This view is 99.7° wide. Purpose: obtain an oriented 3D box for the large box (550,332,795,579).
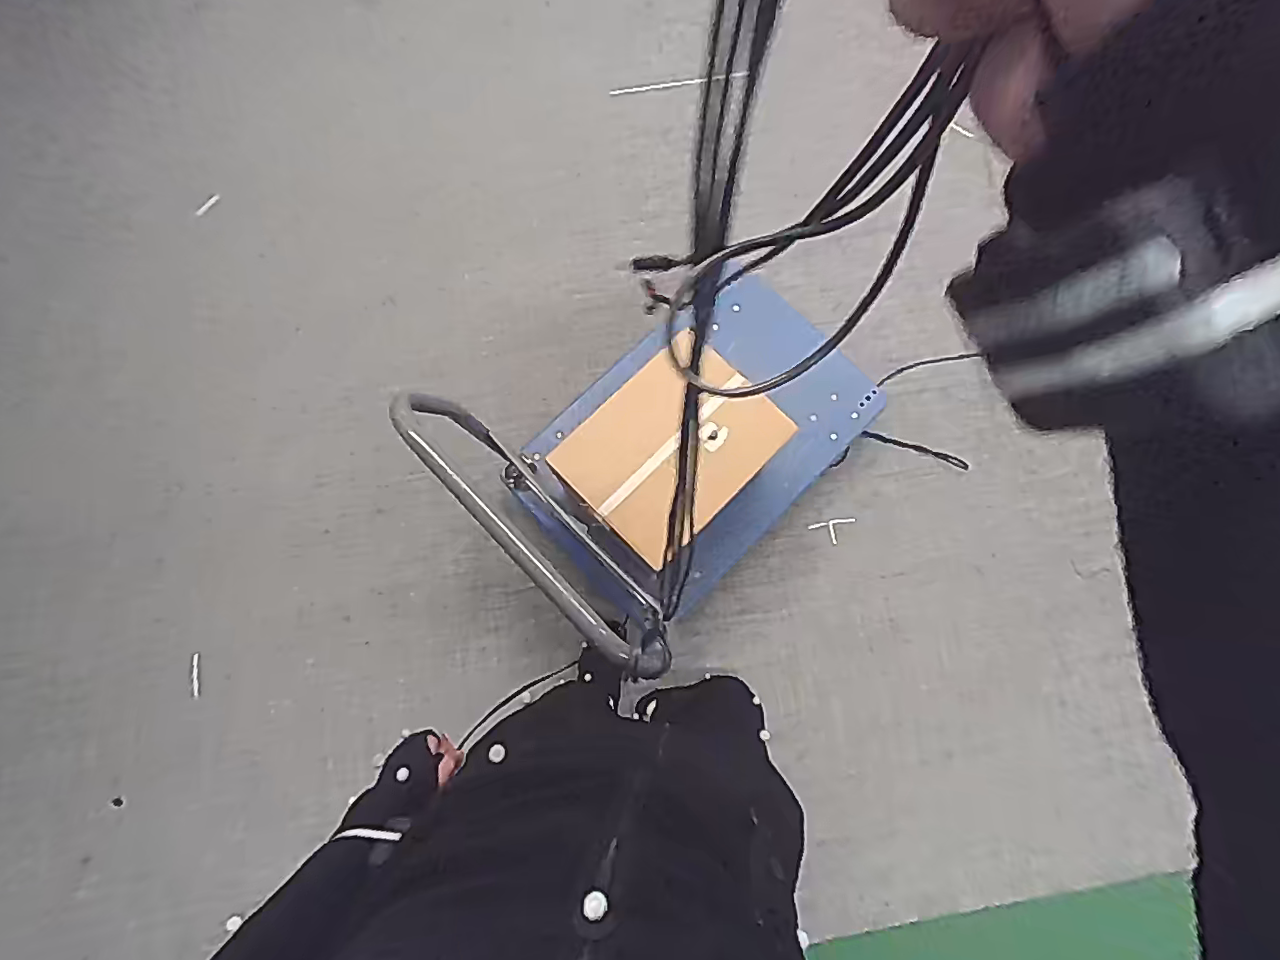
[{"bbox_3d":[0.064,-0.032,1.206,0.320,0.320,0.408,44,80,8],"label":"large box"}]
